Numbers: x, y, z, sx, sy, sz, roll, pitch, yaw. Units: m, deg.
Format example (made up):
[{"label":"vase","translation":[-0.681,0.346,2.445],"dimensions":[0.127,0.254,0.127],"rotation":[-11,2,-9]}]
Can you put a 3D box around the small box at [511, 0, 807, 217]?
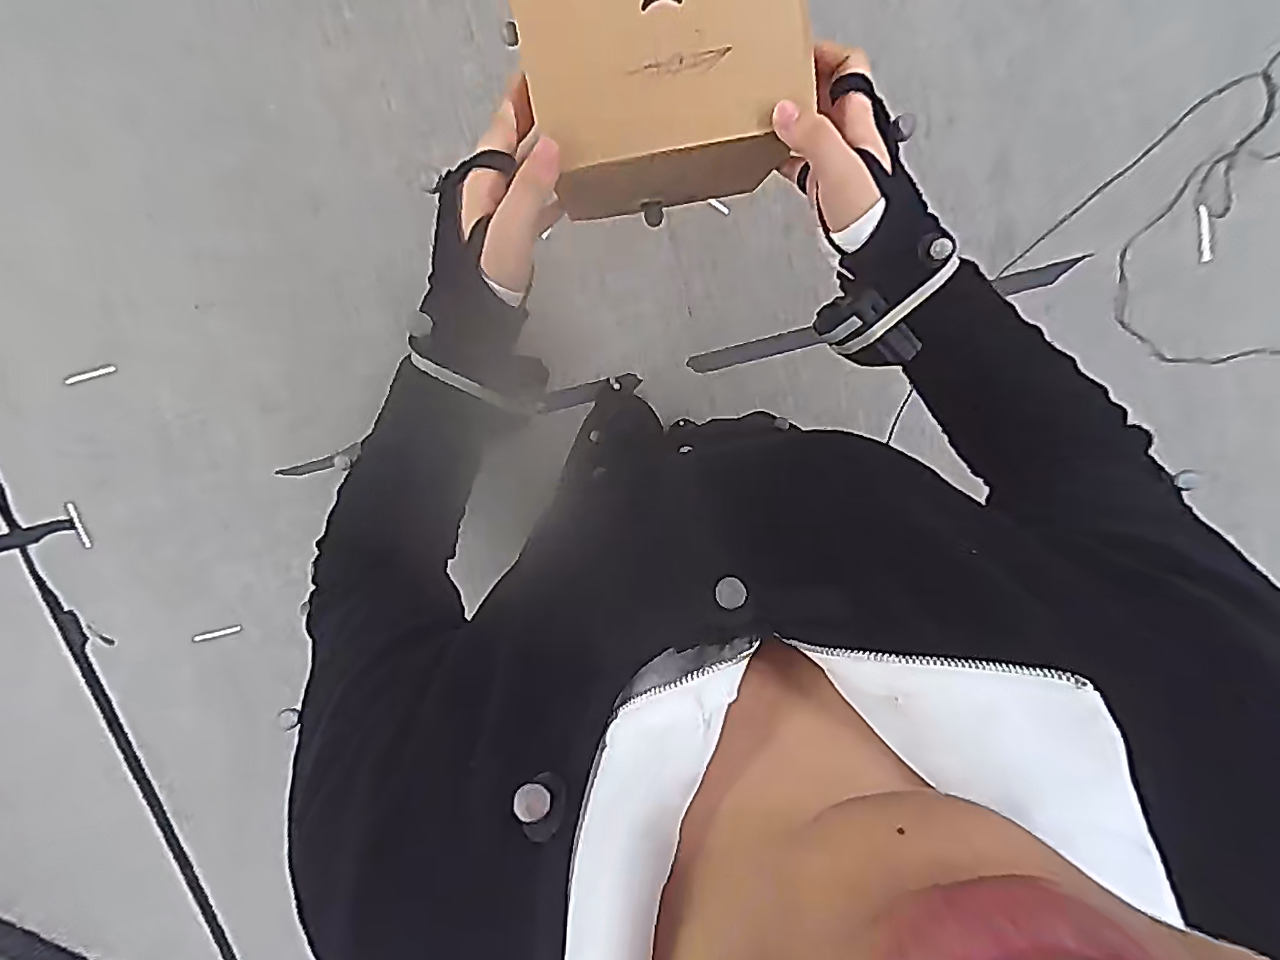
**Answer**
[{"label":"small box","translation":[0.004,-0.305,0.377],"dimensions":[0.168,0.176,0.179],"rotation":[-9,106,1]}]
